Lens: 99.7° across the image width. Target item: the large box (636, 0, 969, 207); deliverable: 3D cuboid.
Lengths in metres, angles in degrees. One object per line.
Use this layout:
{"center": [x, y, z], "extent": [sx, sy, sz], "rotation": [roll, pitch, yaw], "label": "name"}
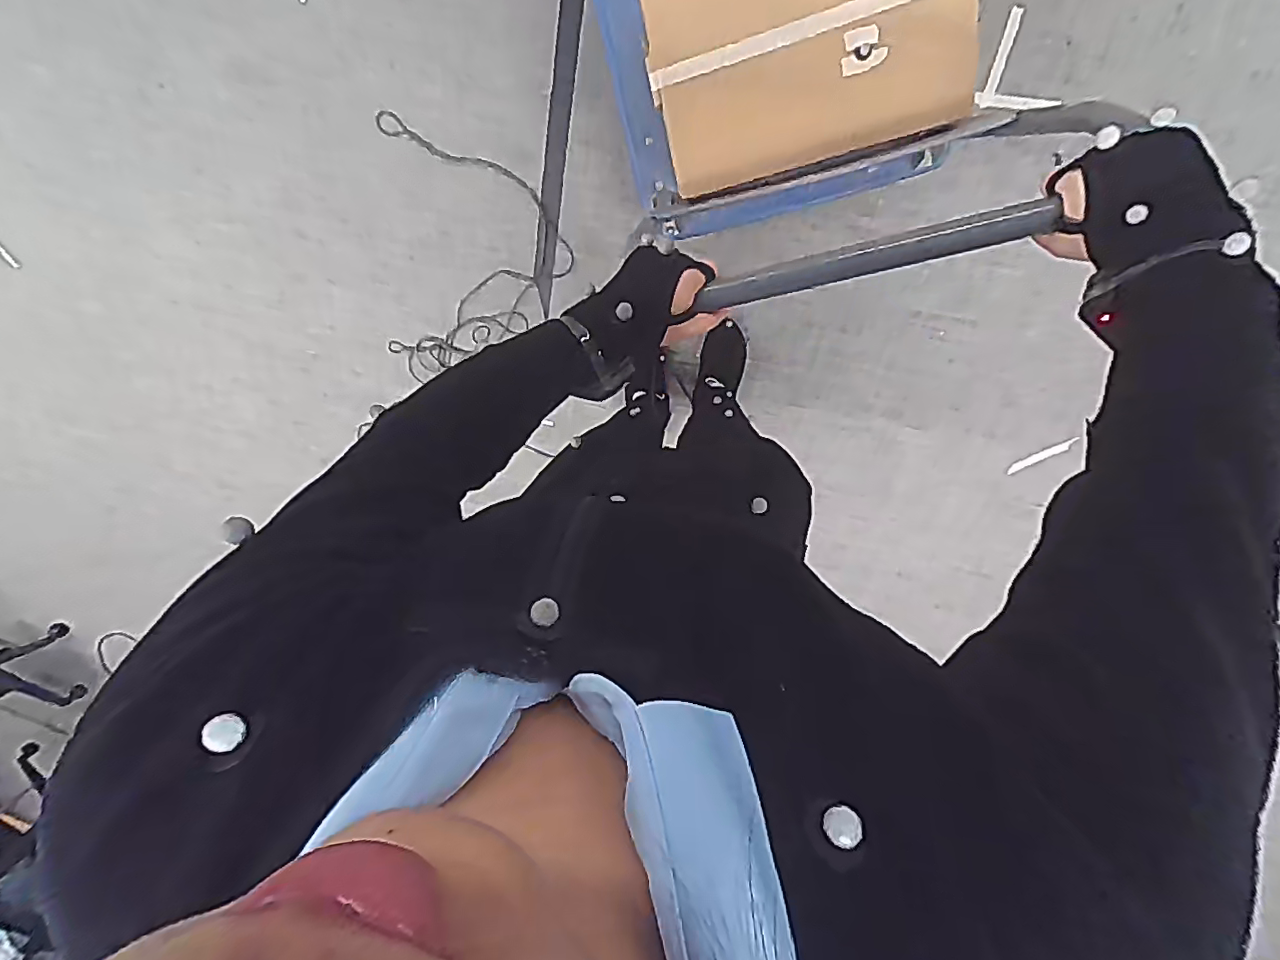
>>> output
{"center": [0.228, -0.646, 0.840], "extent": [0.408, 0.320, 0.320], "rotation": [-10, 116, 12], "label": "large box"}
